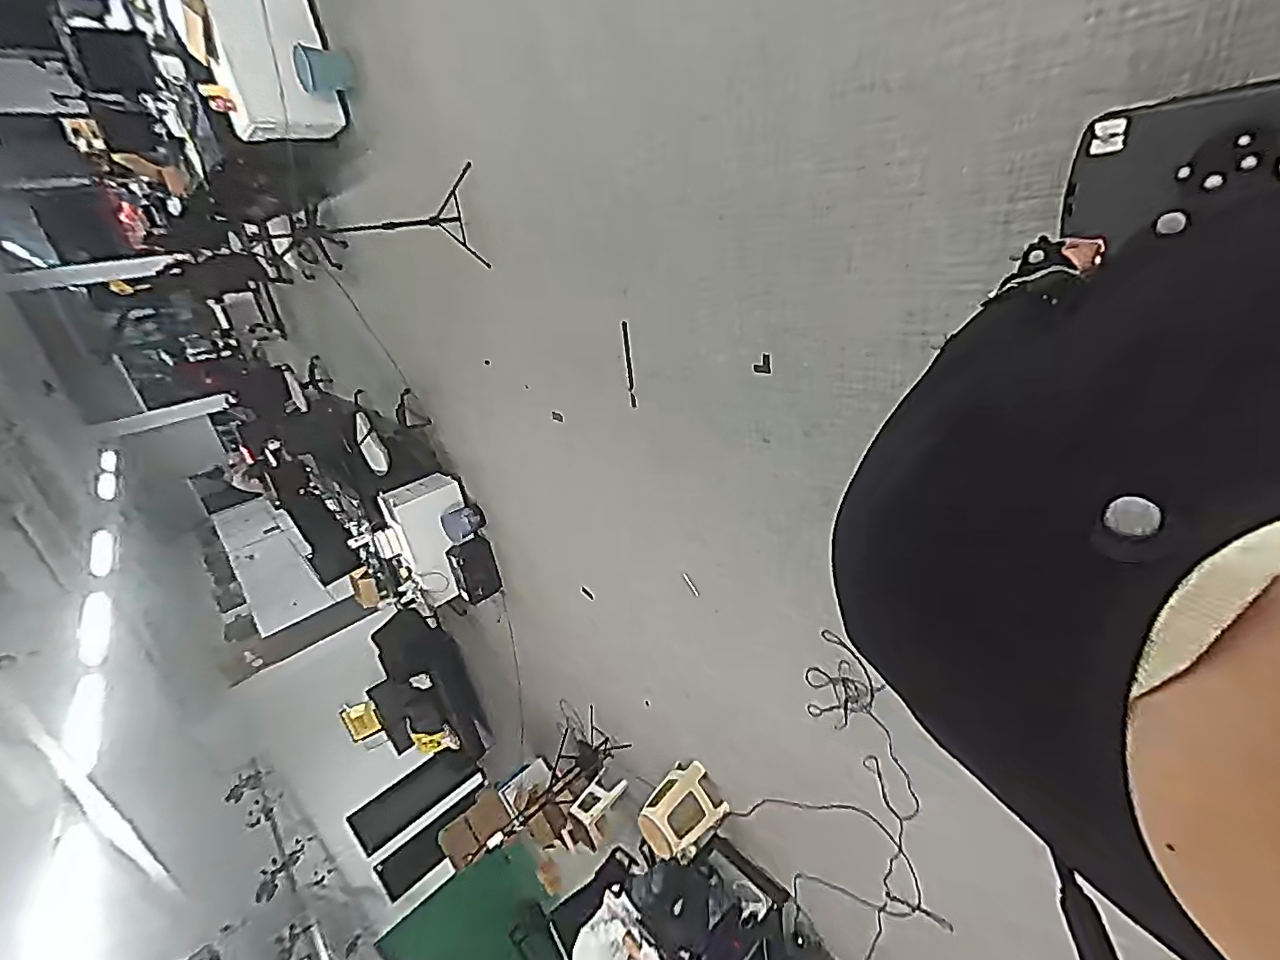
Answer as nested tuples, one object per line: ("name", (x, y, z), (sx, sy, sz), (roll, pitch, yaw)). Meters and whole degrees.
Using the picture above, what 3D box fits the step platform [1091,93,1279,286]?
("step platform", (1.142, -0.452, 0.830), (0.684, 0.204, 0.286), (23, 128, 42))
